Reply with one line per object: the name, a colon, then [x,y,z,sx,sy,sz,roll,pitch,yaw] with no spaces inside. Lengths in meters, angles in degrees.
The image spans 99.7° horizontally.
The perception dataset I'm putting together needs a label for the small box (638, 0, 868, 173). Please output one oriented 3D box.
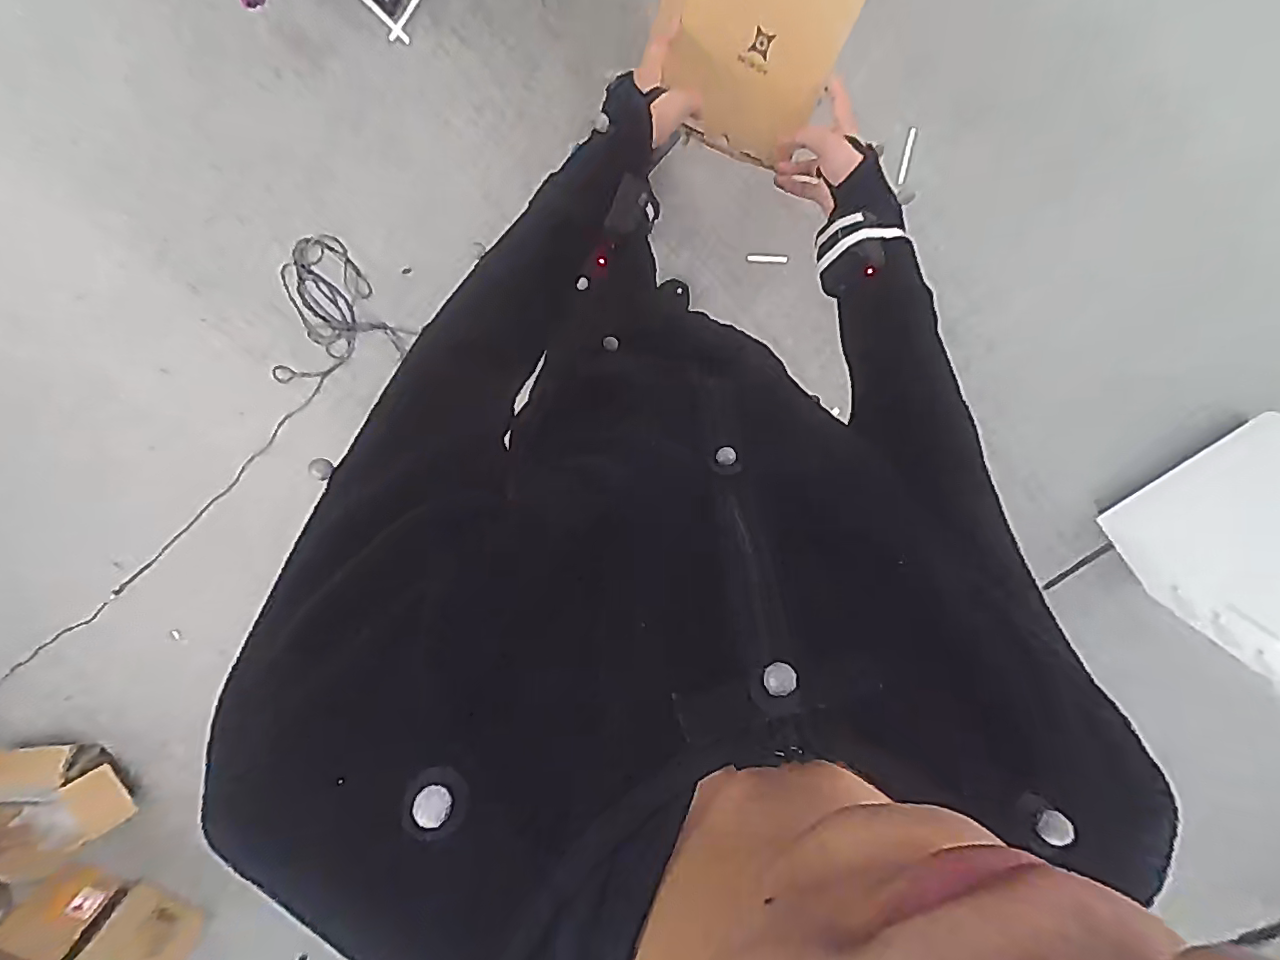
small box: [0.108,-0.473,0.597,0.168,0.176,0.179,13,123,-20]
